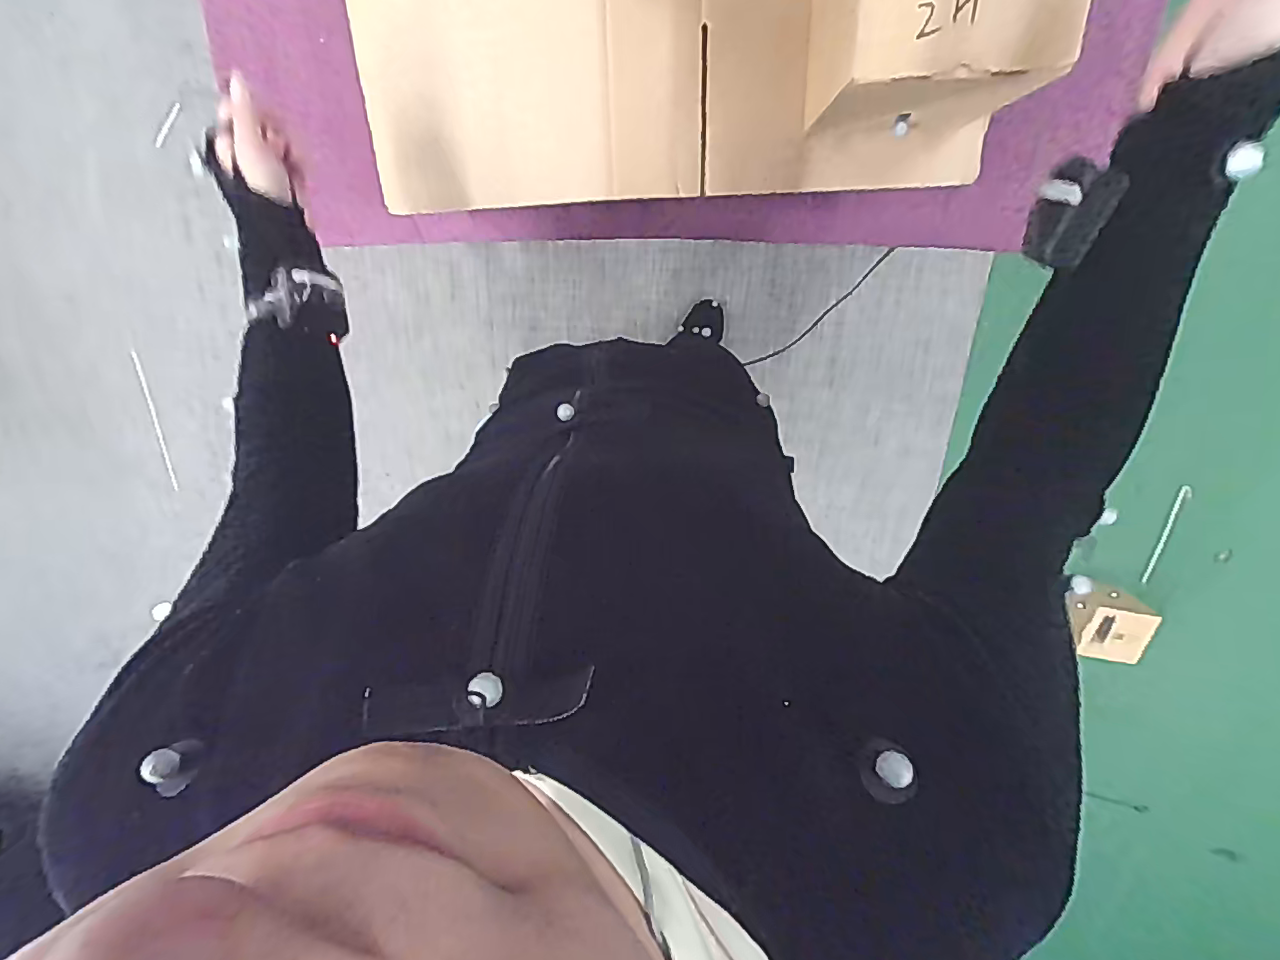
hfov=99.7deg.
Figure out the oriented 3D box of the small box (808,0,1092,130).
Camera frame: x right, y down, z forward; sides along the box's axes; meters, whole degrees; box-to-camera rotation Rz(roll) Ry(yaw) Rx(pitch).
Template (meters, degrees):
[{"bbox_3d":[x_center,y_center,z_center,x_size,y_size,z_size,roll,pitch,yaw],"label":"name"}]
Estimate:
[{"bbox_3d":[0.245,-0.416,0.451,0.168,0.176,0.179,0,111,4],"label":"small box"}]
